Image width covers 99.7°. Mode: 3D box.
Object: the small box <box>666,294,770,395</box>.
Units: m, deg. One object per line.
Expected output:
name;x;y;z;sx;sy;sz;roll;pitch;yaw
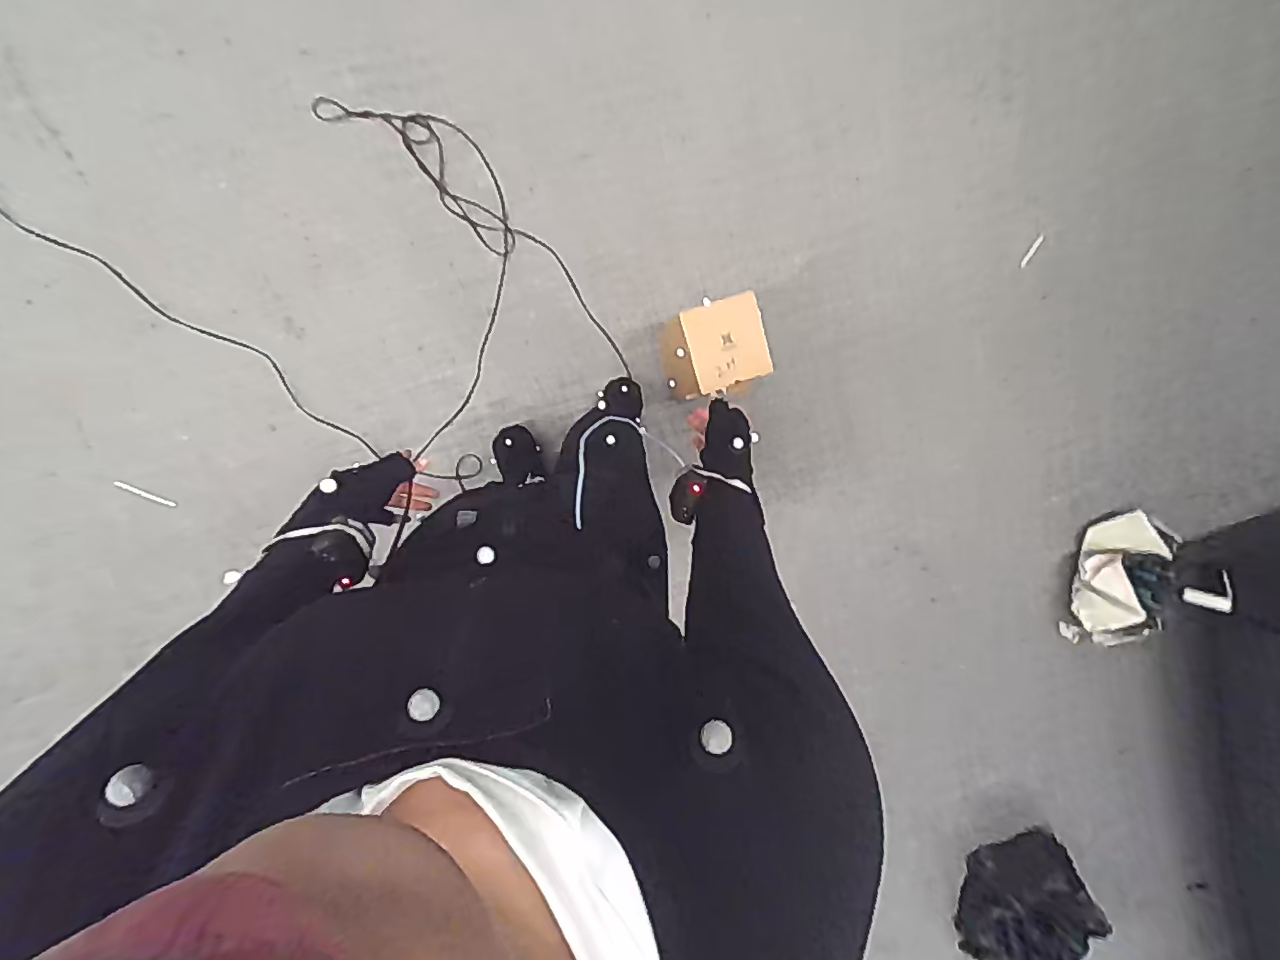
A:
small box;0.166;-0.294;1.204;0.168;0.176;0.179;-18;102;-4

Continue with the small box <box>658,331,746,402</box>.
small box;0.153;-0.305;1.369;0.168;0.176;0.179;-15;102;-6
